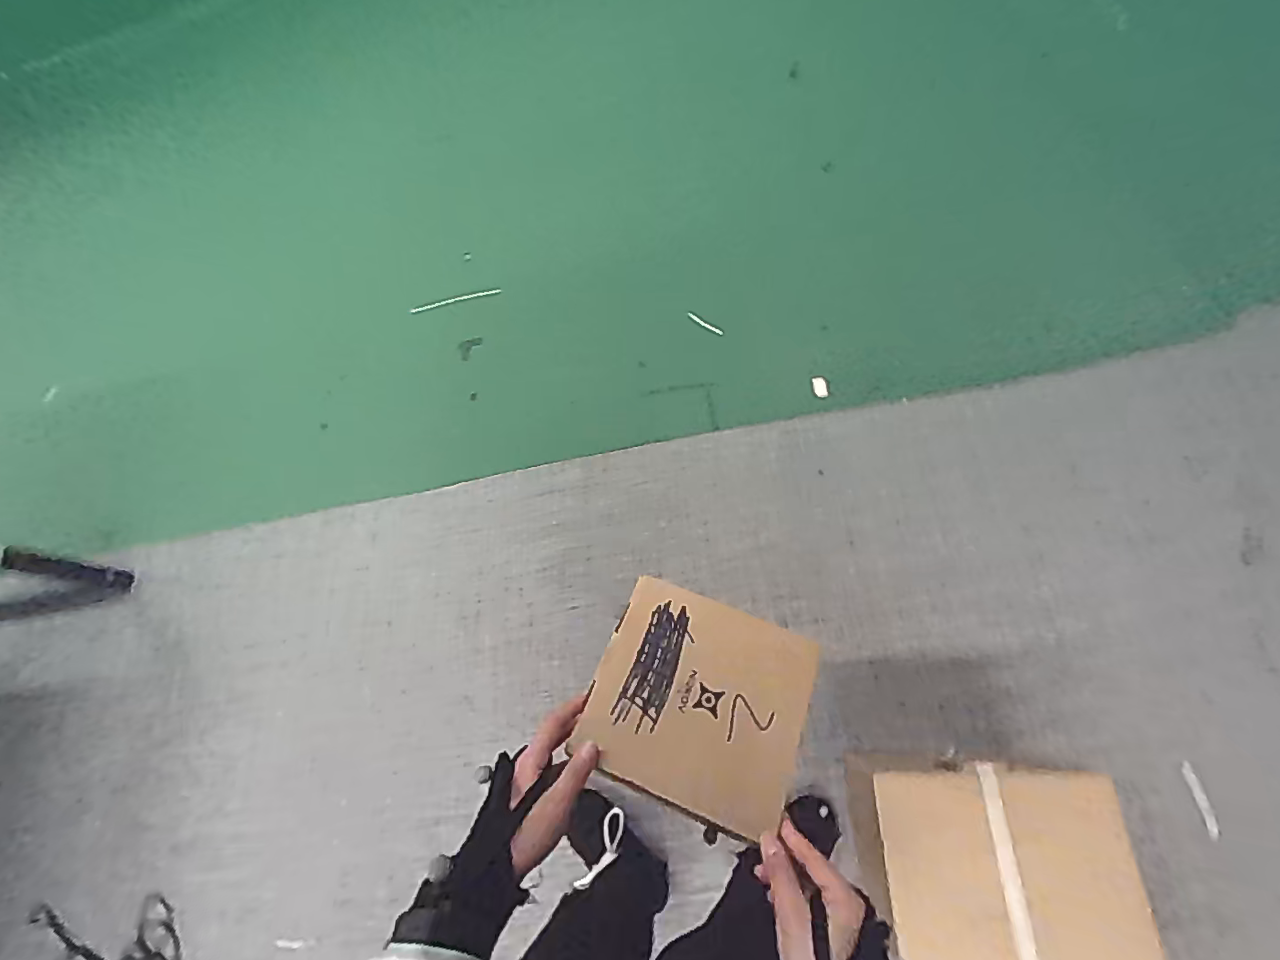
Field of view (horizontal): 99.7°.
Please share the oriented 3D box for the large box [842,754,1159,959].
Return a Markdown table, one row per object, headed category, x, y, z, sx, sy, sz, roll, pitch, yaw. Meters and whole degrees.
| category | x | y | z | sx | sy | sz | roll | pitch | yaw |
| --- | --- | --- | --- | --- | --- | --- | --- | --- | --- |
| large box | 0.521 | 0.661 | 0.830 | 0.320 | 0.320 | 0.408 | -5 | 68 | 11 |
